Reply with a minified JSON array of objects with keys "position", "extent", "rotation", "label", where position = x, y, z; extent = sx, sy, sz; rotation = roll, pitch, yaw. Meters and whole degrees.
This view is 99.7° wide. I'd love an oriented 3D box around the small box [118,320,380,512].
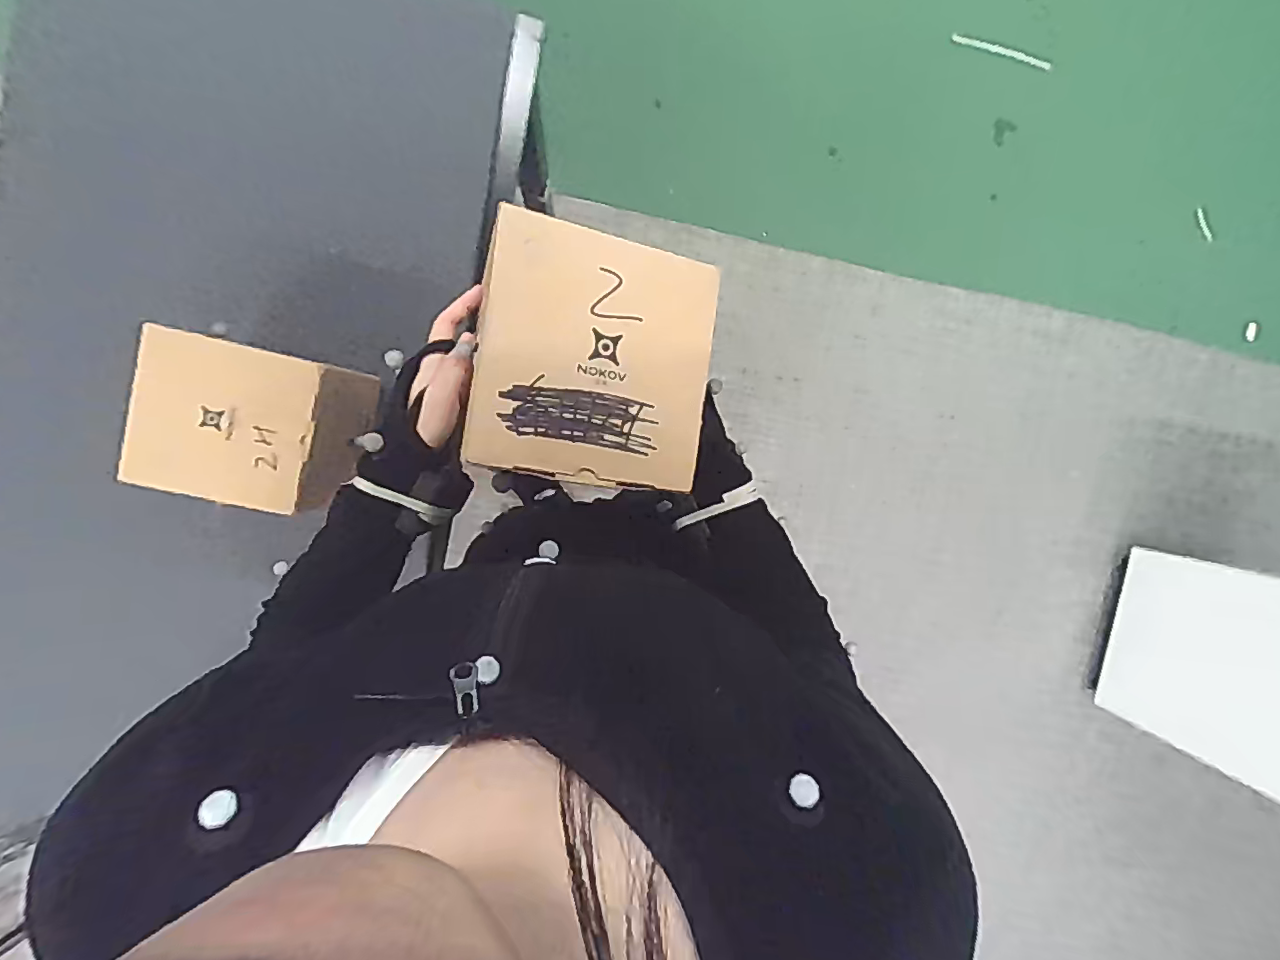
[{"position":[-0.435,-0.070,0.631],"extent":[0.179,0.176,0.168],"rotation":[13,95,-7],"label":"small box"}]
